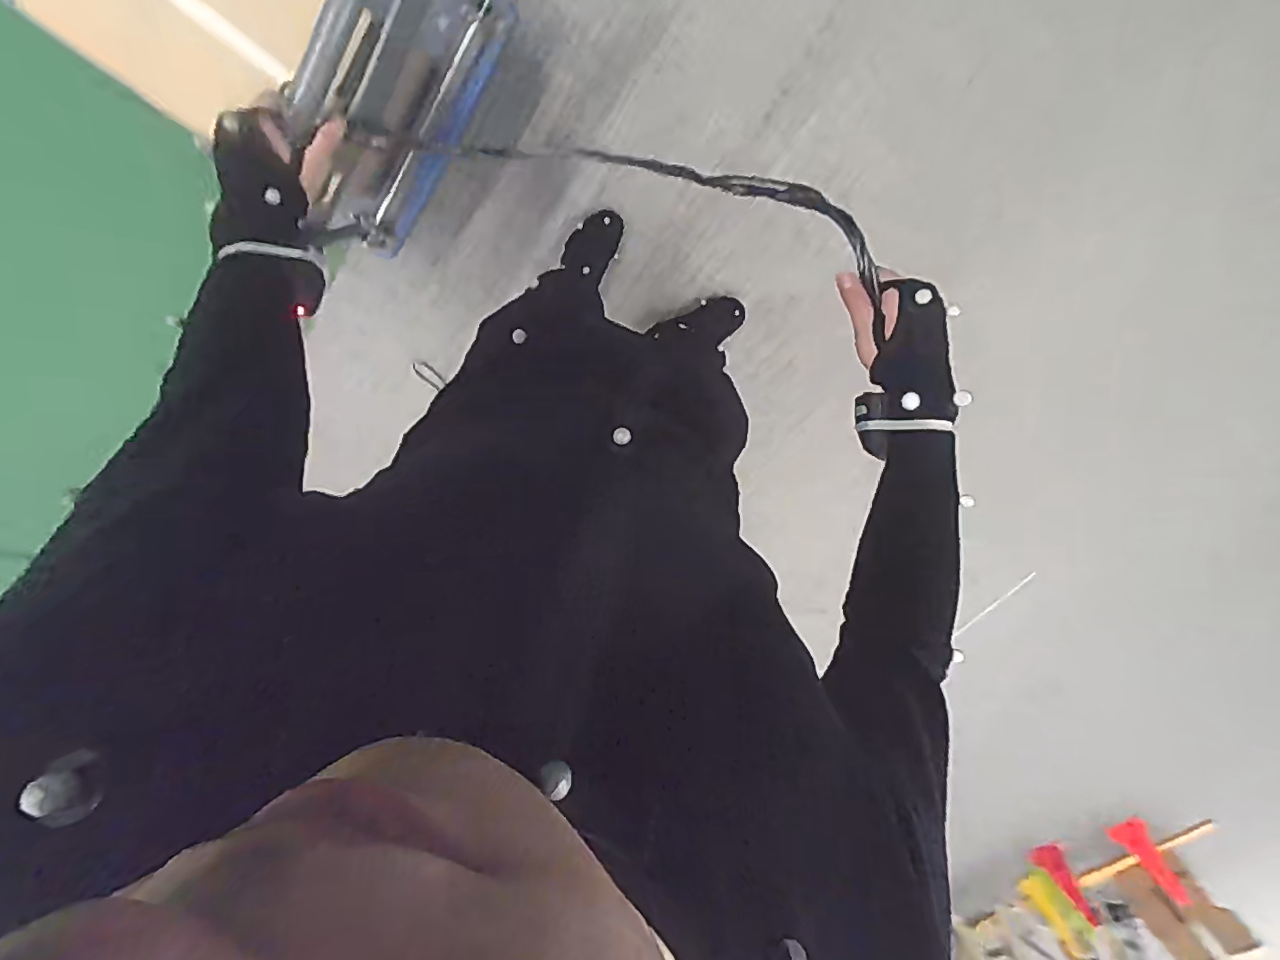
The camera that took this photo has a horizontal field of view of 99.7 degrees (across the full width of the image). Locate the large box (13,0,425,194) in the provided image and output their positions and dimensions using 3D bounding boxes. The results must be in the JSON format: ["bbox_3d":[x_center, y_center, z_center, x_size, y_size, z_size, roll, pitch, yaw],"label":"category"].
[{"bbox_3d":[-0.652,-0.752,0.910,0.408,0.320,0.320,34,111,-20],"label":"large box"}]
